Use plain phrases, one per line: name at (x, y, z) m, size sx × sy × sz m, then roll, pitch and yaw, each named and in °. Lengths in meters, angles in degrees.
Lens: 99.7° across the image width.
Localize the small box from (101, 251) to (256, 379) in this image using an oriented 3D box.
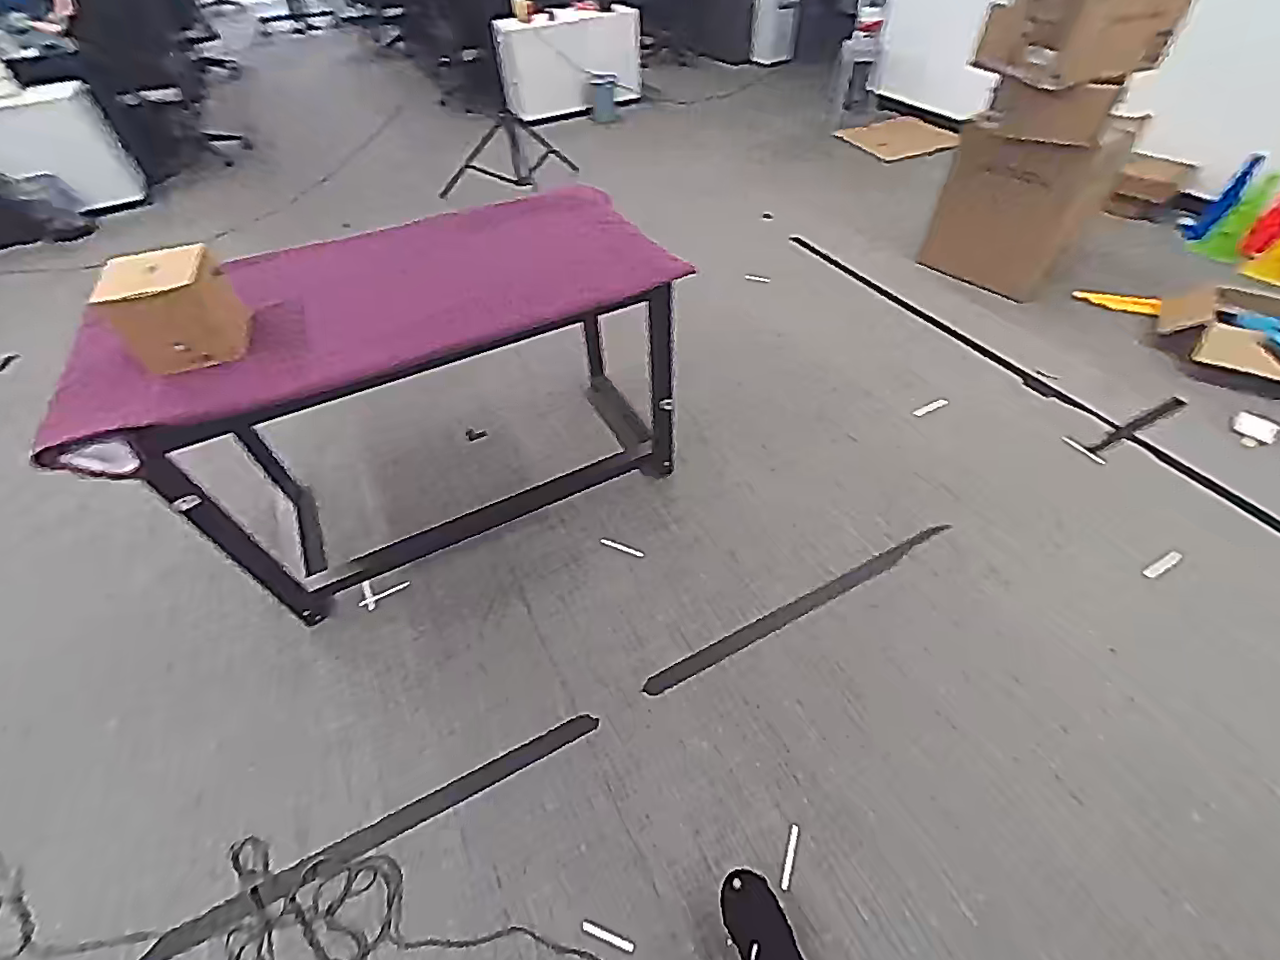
small box at (-0.911, -0.332, 1.092) m, size 0.168 × 0.176 × 0.179 m, roll -17°, pitch 51°, yaw -12°
